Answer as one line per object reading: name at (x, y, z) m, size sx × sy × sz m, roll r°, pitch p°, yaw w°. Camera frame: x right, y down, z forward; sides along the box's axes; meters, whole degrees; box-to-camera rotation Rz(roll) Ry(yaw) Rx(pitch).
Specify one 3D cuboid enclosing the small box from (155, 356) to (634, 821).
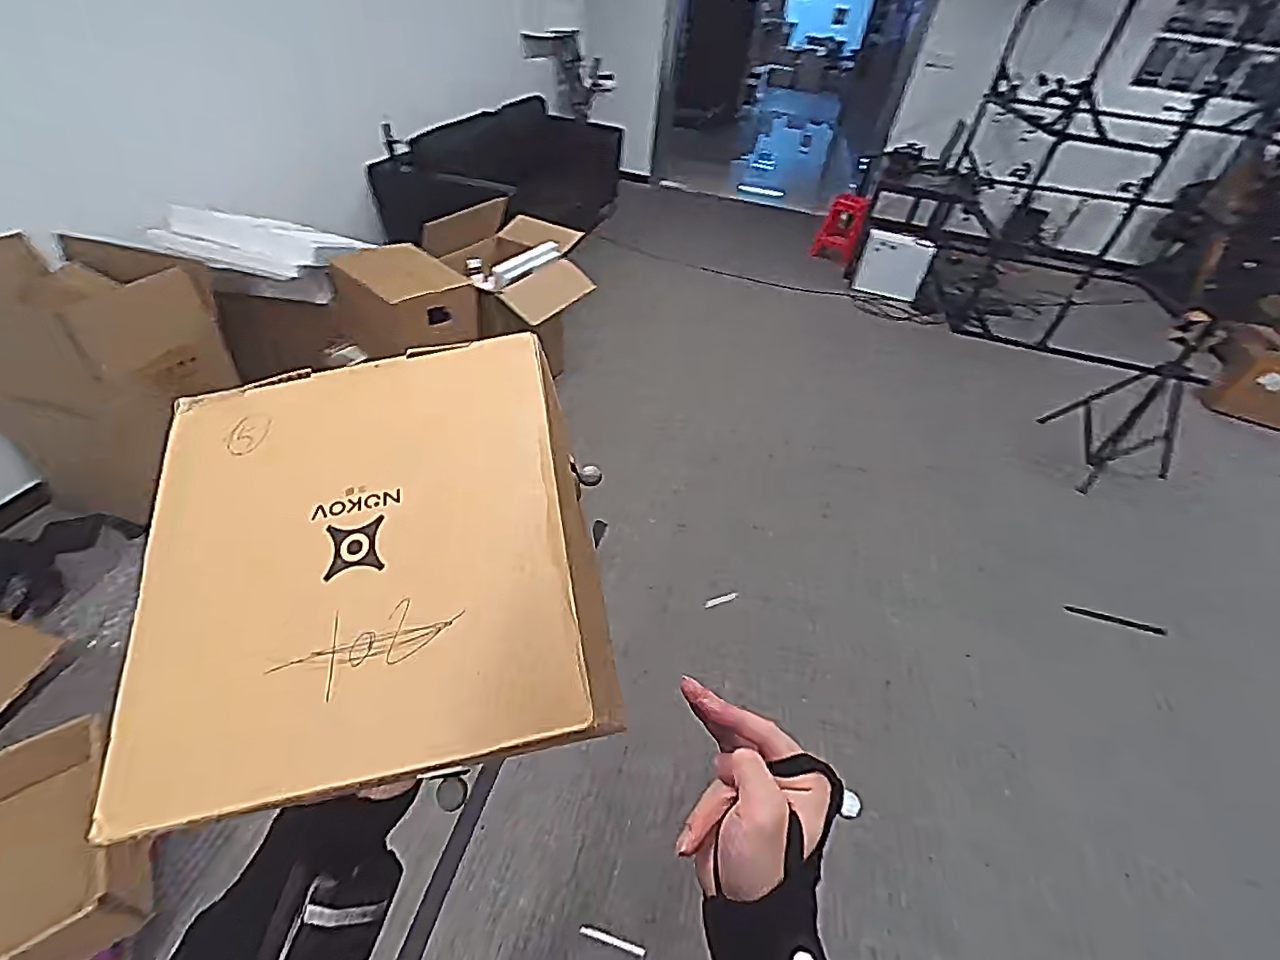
small box at (-0.102, 0.064, 0.300) m, size 0.168 × 0.176 × 0.179 m, roll -12°, pitch 65°, yaw -1°
